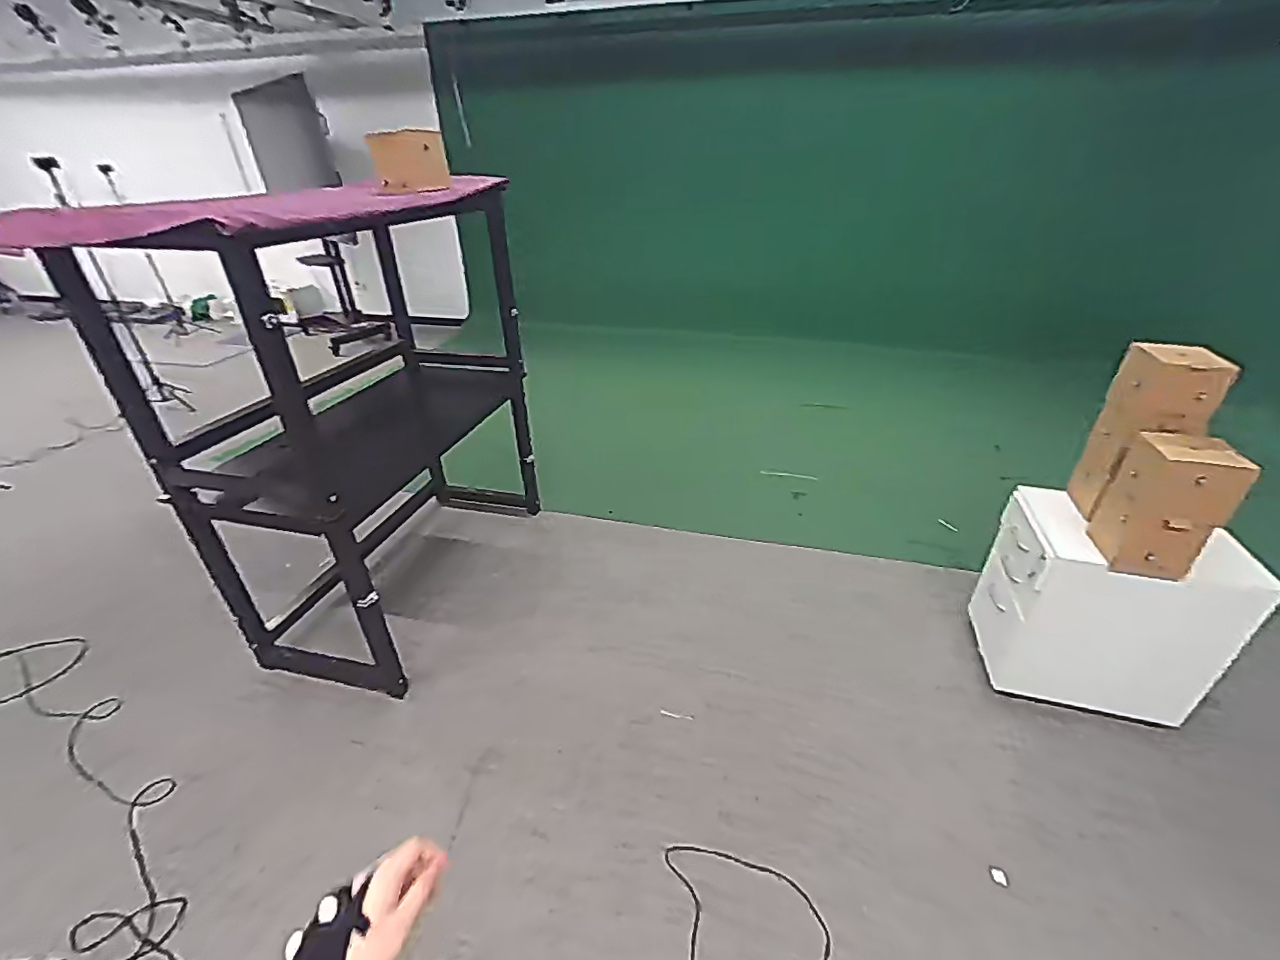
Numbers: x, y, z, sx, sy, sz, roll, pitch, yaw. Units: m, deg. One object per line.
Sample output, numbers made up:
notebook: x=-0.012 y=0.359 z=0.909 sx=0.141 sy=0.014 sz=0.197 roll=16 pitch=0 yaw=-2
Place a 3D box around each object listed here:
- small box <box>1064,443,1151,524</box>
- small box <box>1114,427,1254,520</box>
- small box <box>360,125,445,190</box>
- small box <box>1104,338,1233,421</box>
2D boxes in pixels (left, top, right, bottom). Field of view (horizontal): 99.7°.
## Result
small box: x=1.431 y=0.008 z=1.634 sx=0.168 sy=0.176 sz=0.179 roll=8 pitch=34 yaw=14
small box: x=1.348 y=-0.017 z=1.362 sx=0.179 sy=0.176 sz=0.168 roll=9 pitch=33 yaw=15
small box: x=-0.757 y=-1.039 z=1.749 sx=0.168 sy=0.176 sz=0.179 roll=5 pitch=32 yaw=15
small box: x=1.418 y=-0.273 z=1.466 sx=0.168 sy=0.176 sz=0.179 roll=9 pitch=33 yaw=14
